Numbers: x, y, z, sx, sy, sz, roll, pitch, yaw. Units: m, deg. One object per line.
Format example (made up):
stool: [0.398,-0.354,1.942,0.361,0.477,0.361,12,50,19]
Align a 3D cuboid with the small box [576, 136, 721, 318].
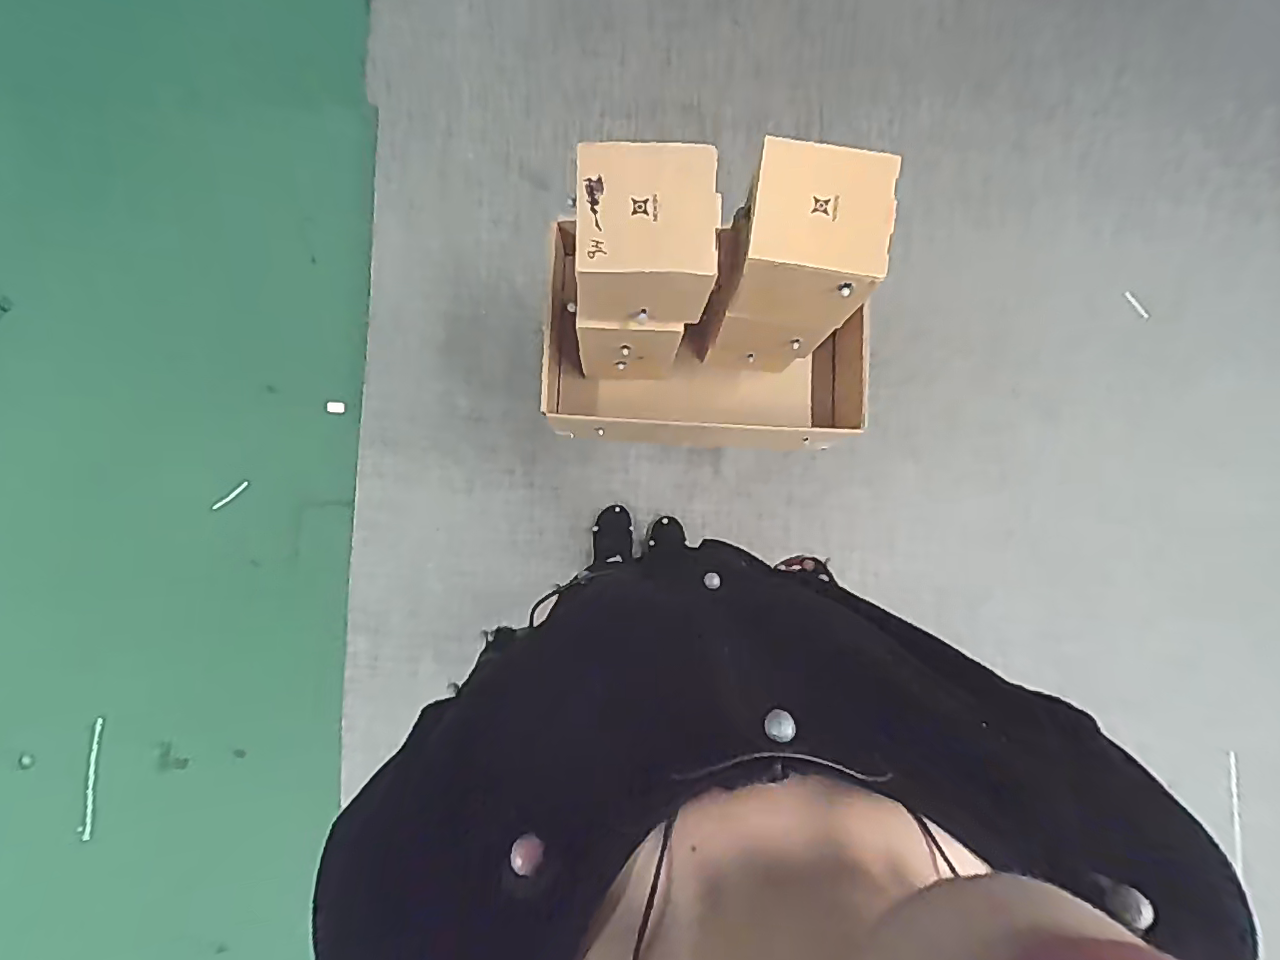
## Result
small box: [0.007,-0.329,0.735,0.179,0.176,0.168,1,87,-2]
